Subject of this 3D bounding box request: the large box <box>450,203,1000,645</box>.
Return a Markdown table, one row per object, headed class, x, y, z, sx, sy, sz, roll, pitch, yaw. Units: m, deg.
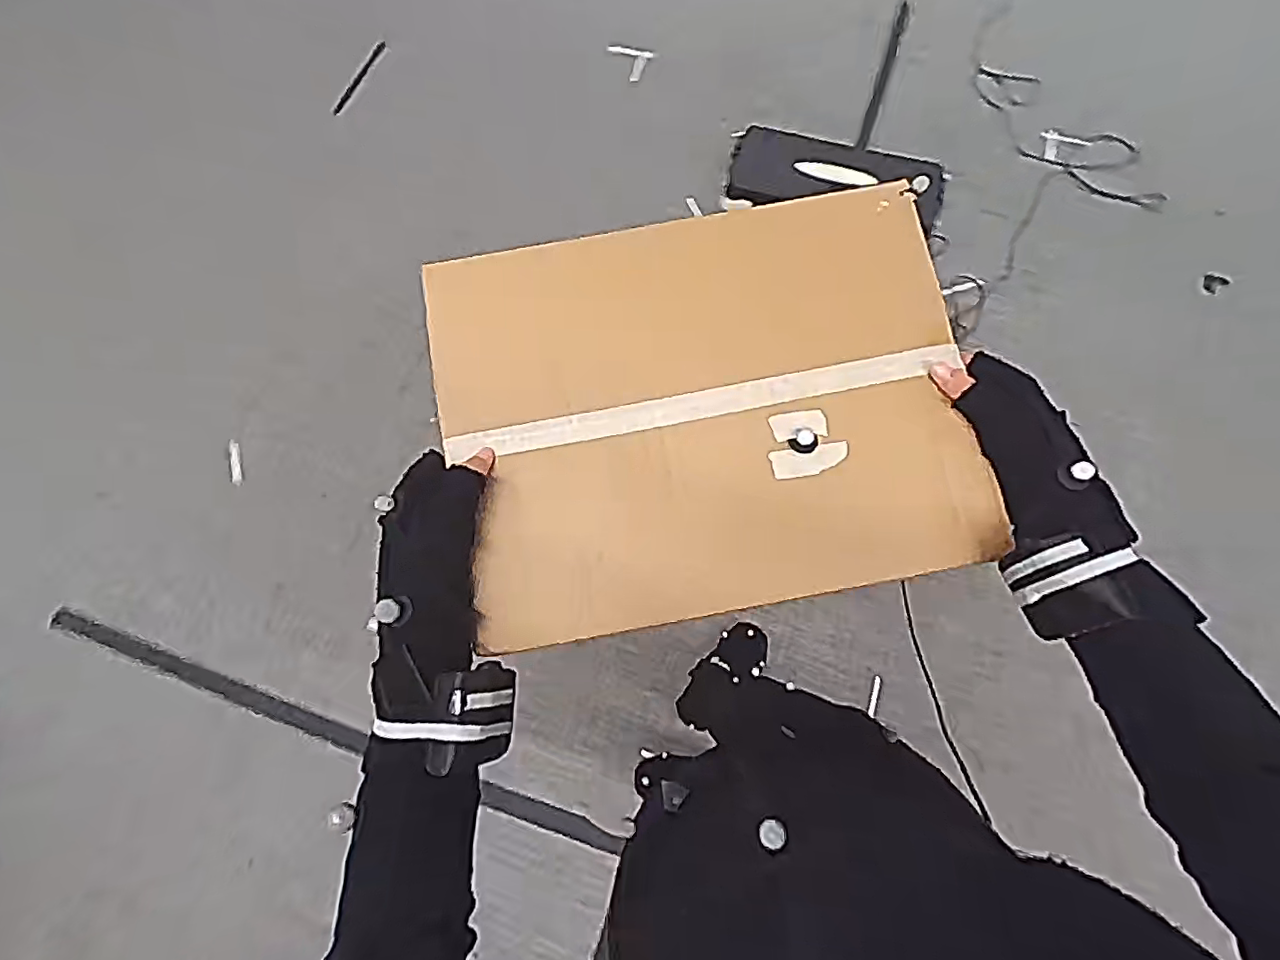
| class | x | y | z | sx | sy | sz | roll | pitch | yaw |
| --- | --- | --- | --- | --- | --- | --- | --- | --- | --- |
| large box | 0.059 | -0.031 | 0.585 | 0.408 | 0.320 | 0.320 | -10 | 81 | -1 |
